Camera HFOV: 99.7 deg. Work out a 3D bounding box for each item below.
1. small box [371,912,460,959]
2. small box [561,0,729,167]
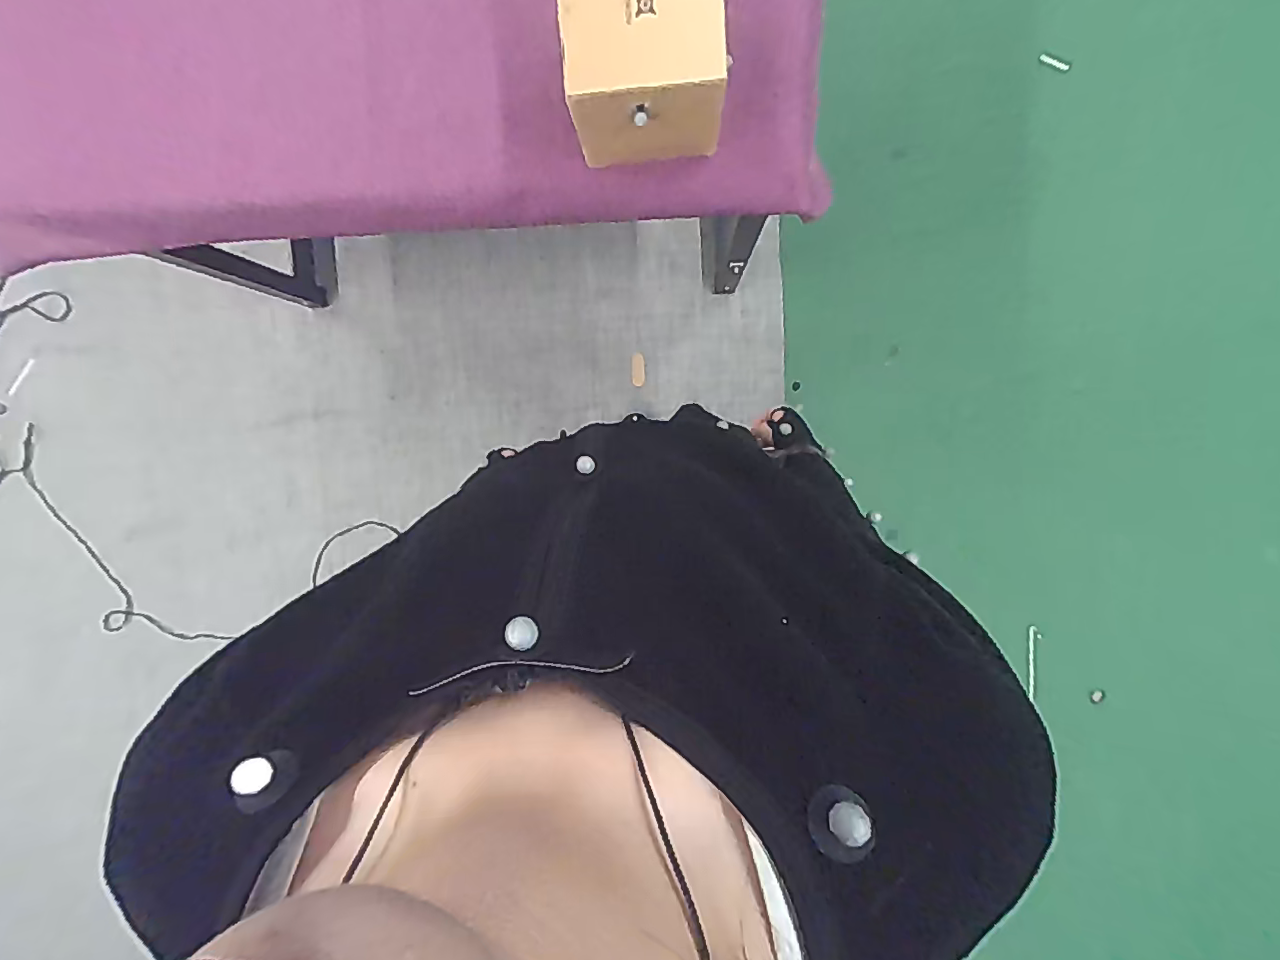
[{"bbox_3d":[-0.580,1.269,1.393,0.168,0.176,0.179,-7,95,4],"label":"small box"},{"bbox_3d":[0.010,-0.505,0.651,0.179,0.176,0.168,-3,97,6],"label":"small box"}]
